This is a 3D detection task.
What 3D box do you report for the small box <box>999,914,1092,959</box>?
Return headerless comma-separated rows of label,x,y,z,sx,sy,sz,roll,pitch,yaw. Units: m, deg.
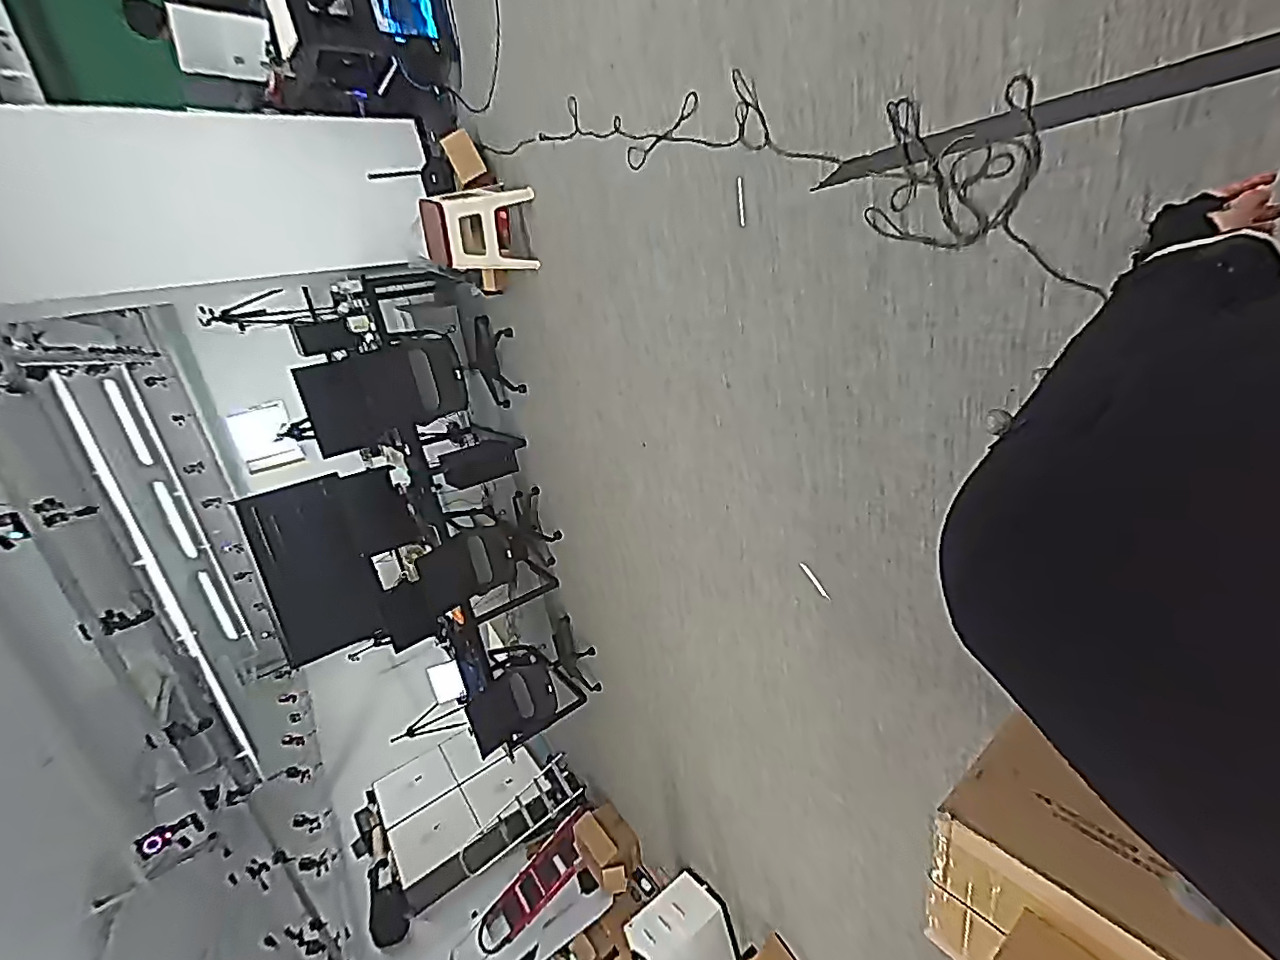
small box,0.681,0.872,0.874,0.179,0.176,0.168,20,125,53
